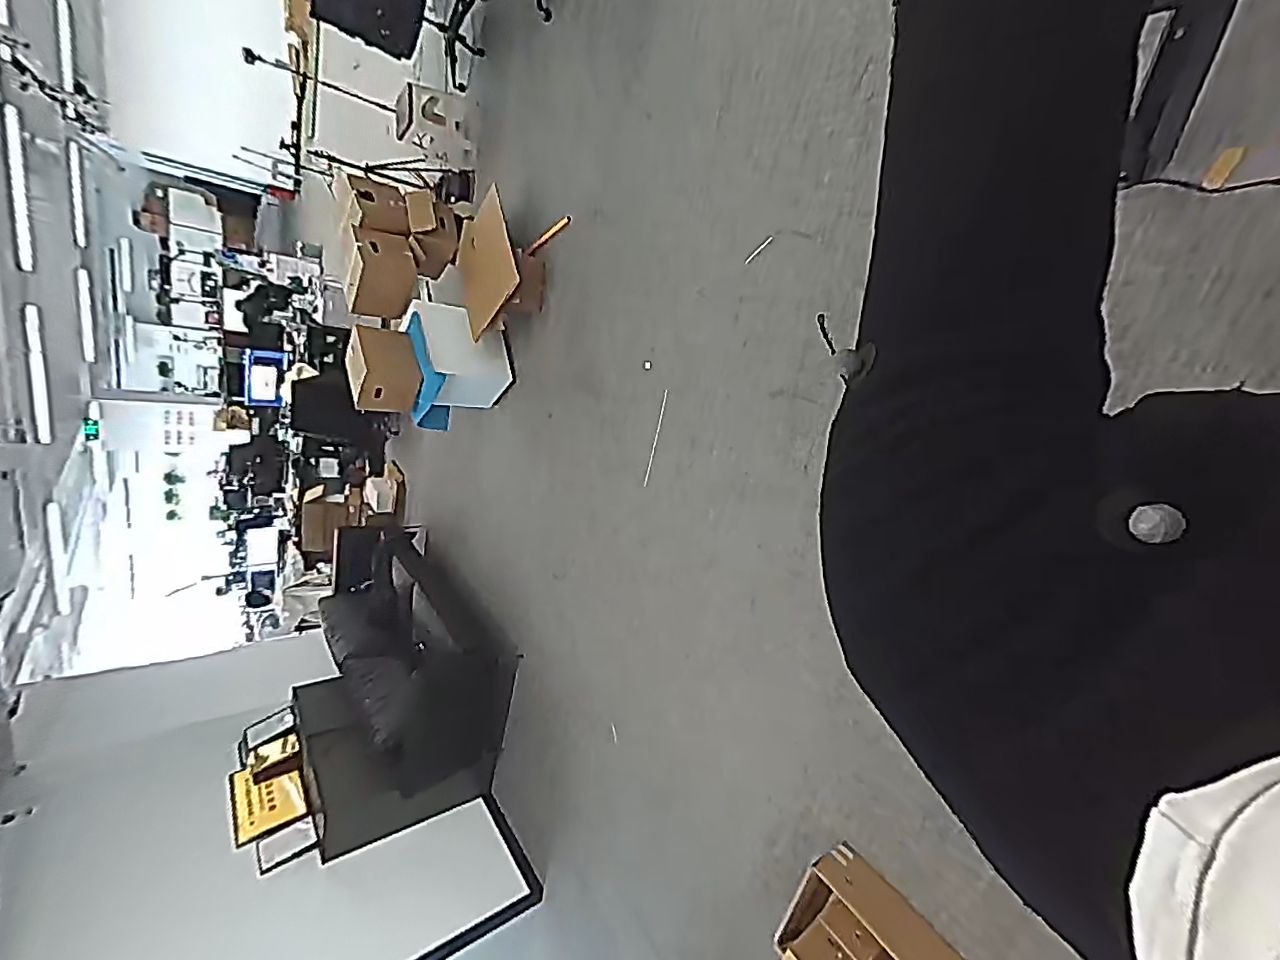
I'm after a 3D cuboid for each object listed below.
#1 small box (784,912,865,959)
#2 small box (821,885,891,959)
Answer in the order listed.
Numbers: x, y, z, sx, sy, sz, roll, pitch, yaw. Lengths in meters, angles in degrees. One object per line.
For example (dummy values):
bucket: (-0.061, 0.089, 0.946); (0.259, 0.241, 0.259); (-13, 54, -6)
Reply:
small box: (0.540, 1.452, 1.604); (0.168, 0.176, 0.179); (34, 116, 42)
small box: (0.664, 1.442, 1.710); (0.168, 0.176, 0.179); (32, 115, 44)
